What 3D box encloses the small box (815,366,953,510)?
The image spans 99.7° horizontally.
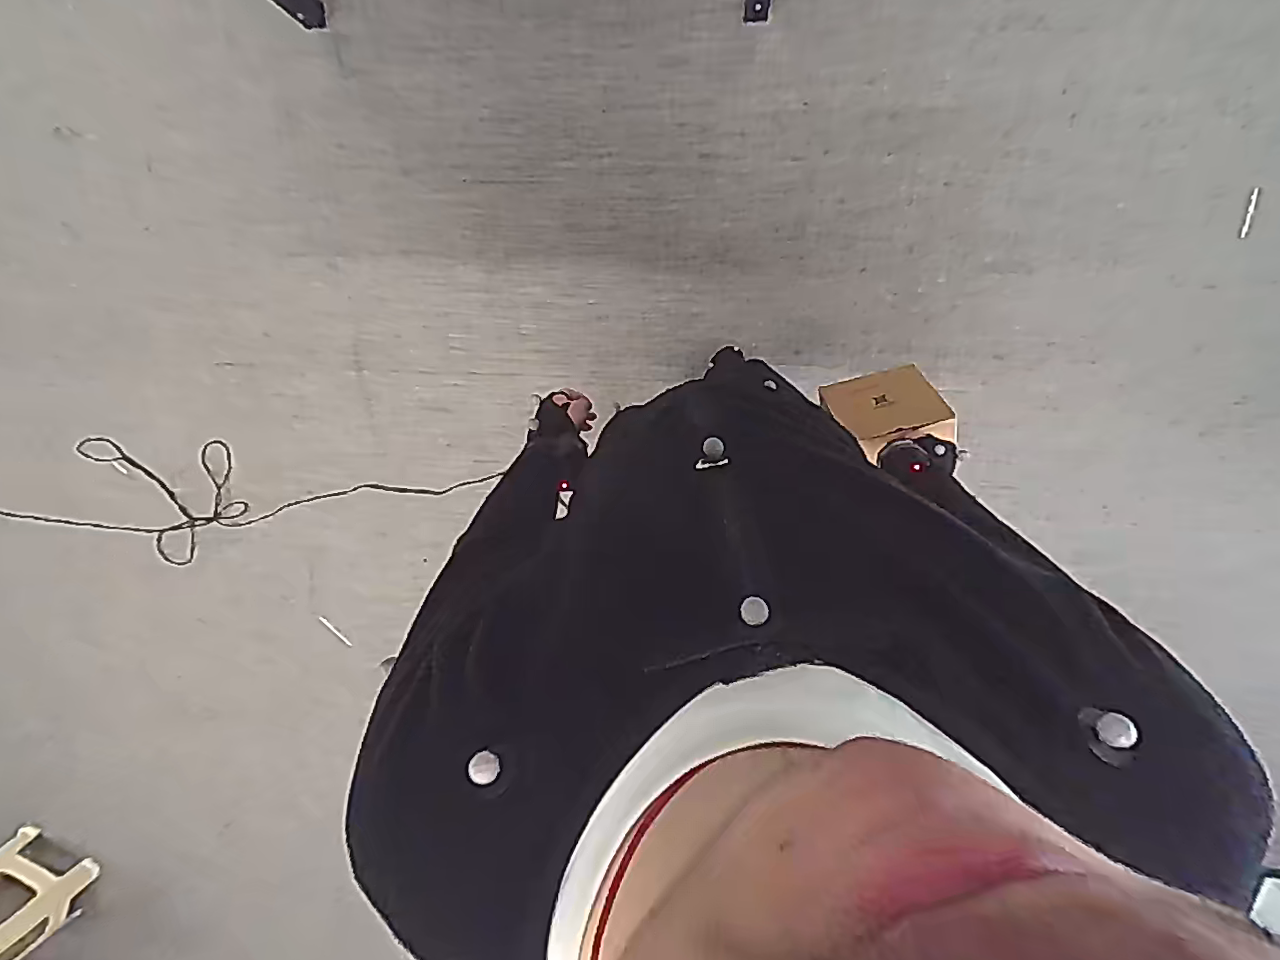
[{"bbox_3d":[0.412,-0.065,0.929,0.168,0.179,0.176,-13,127,9],"label":"small box"}]
